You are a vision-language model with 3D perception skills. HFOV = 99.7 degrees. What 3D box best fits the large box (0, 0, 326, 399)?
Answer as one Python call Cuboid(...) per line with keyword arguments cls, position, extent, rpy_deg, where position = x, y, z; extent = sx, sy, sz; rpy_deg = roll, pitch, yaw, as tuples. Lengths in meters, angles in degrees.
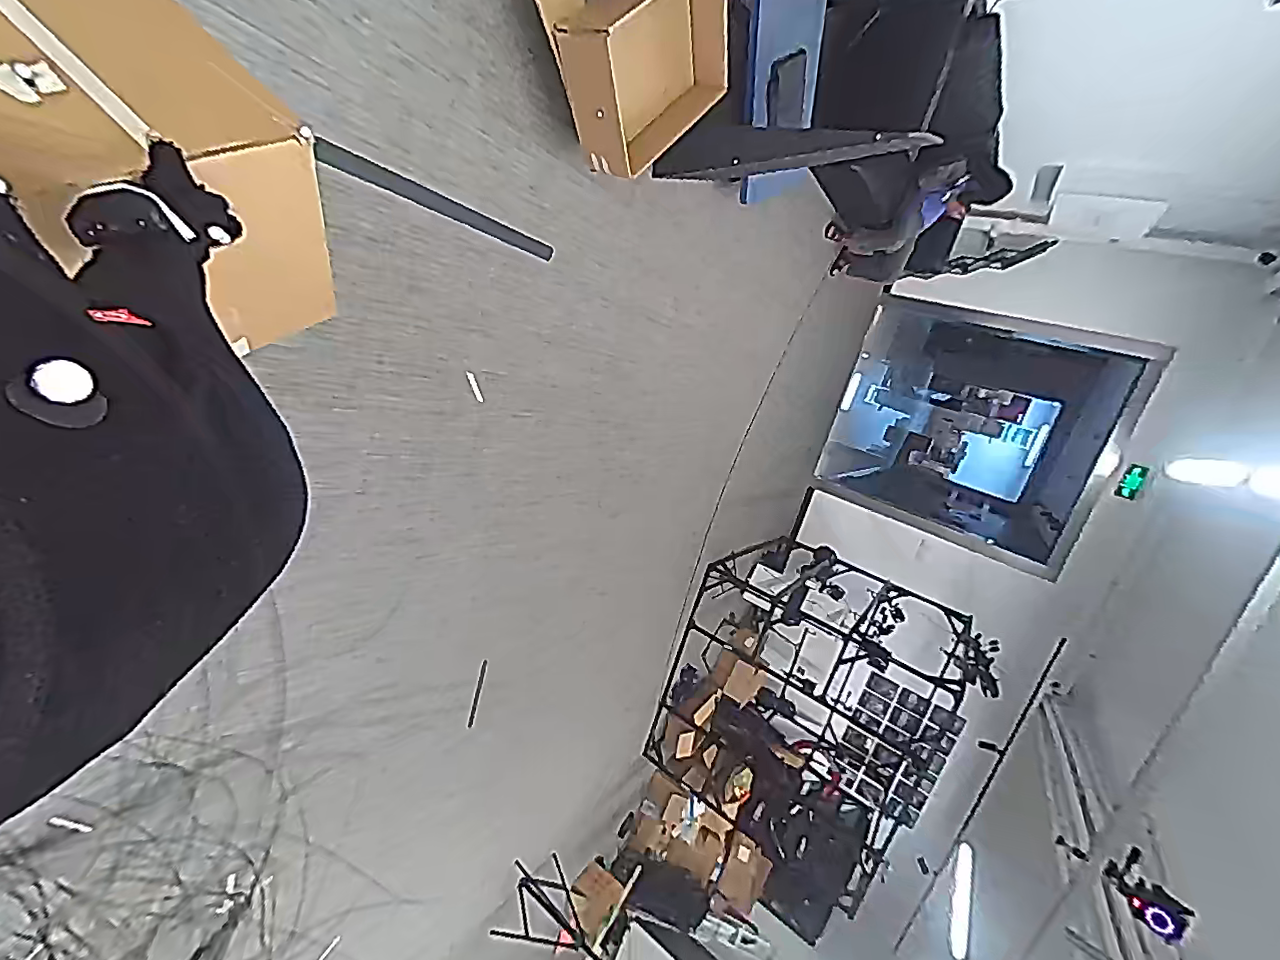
Cuboid(cls="large box", position=(-0.689, -0.389, 0.695), extent=(0.320, 0.408, 0.320), rpy_deg=(-45, 178, -34))
